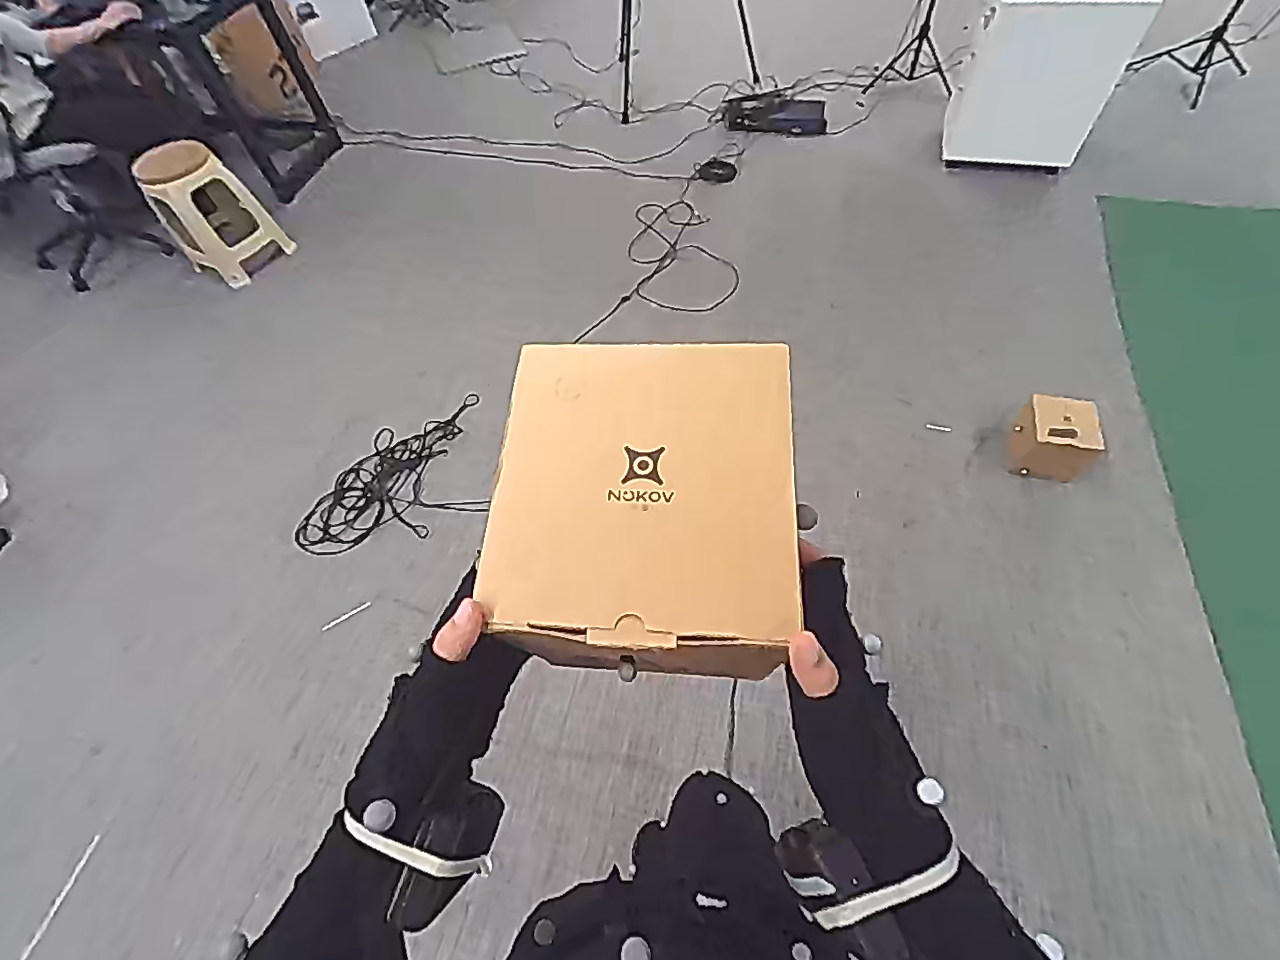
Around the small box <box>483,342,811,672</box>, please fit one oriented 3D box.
[{"bbox_3d":[0.014,0.028,0.370,0.168,0.176,0.179,1,66,7],"label":"small box"}]

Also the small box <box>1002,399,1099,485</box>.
[{"bbox_3d":[1.188,-0.107,1.577,0.168,0.176,0.179,12,59,12],"label":"small box"}]
